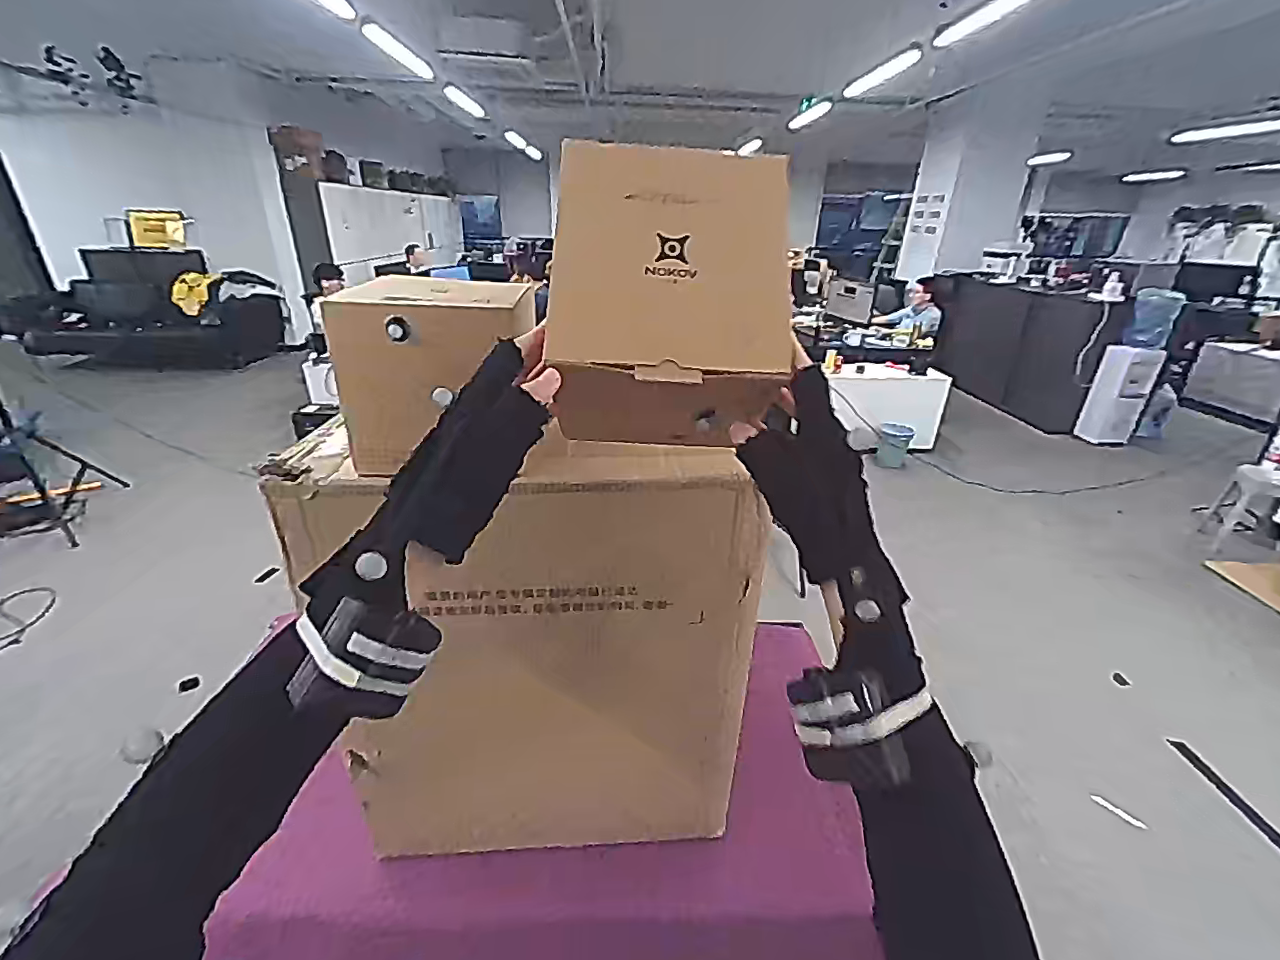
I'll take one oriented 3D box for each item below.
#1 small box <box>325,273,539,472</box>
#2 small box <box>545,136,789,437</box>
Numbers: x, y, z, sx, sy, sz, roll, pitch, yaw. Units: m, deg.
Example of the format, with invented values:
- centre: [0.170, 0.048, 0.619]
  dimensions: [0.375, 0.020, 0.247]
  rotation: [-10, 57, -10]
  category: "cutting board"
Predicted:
- centre: [-0.199, -0.120, 0.574]
  dimensions: [0.168, 0.176, 0.179]
  rotation: [0, 26, -5]
  category: "small box"
- centre: [0.018, -0.144, 0.454]
  dimensions: [0.168, 0.179, 0.176]
  rotation: [3, -16, -3]
  category: "small box"
